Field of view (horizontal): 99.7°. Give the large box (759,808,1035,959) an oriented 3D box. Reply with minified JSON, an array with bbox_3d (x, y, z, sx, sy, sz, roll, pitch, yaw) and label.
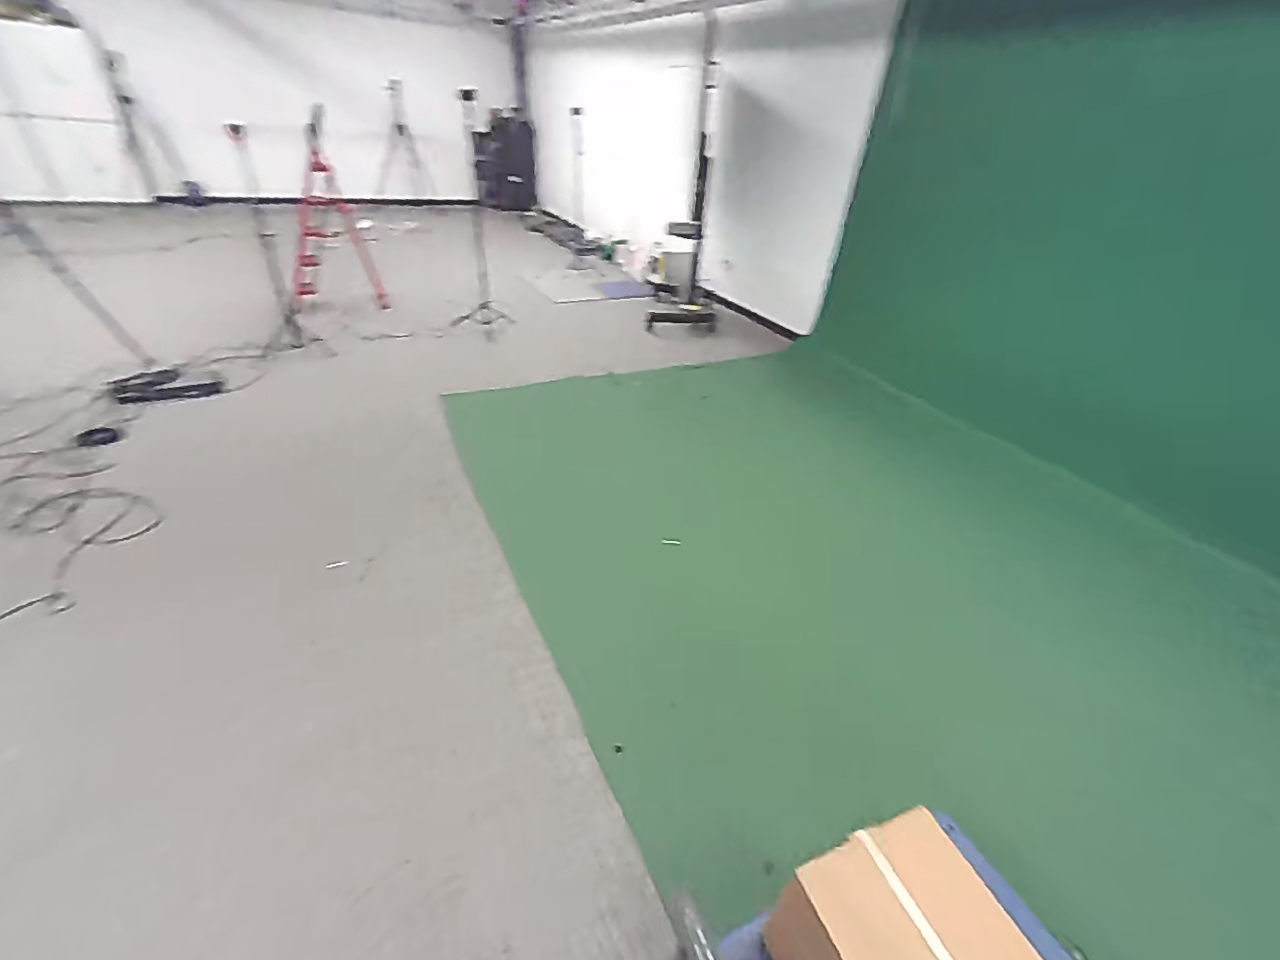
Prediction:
[{"bbox_3d":[0.471,0.898,0.954,0.320,0.320,0.408,-9,37,-21],"label":"large box"}]
